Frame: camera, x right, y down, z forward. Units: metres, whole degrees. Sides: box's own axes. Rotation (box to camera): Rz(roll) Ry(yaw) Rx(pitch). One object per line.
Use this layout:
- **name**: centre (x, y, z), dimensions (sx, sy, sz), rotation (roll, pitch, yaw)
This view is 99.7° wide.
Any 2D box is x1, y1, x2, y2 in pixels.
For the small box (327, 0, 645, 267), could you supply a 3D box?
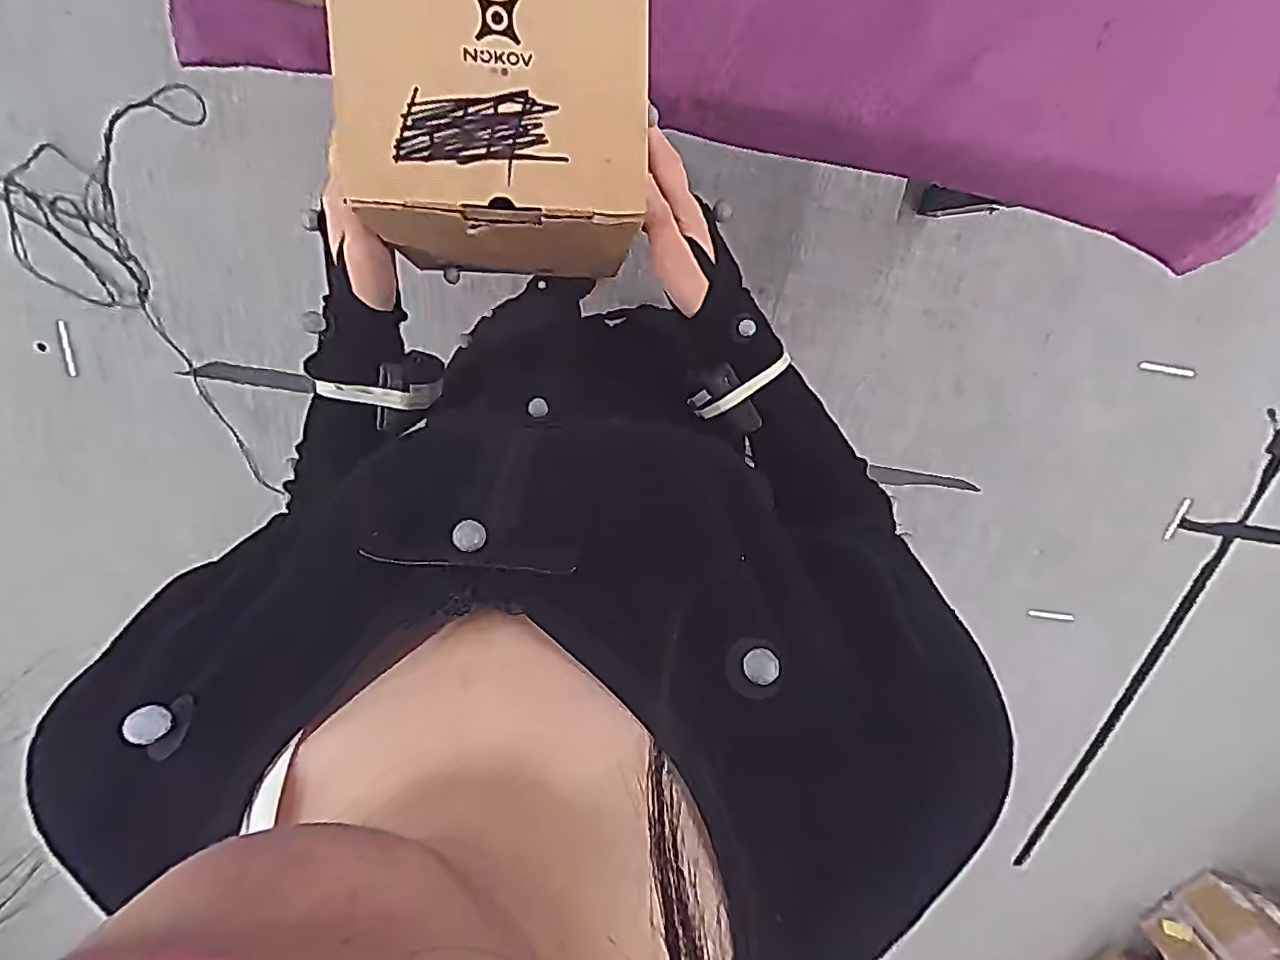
- **small box**: centre (-0.090, -0.252, 0.364), dimensions (0.168, 0.176, 0.179), rotation (-1, 99, -9)
